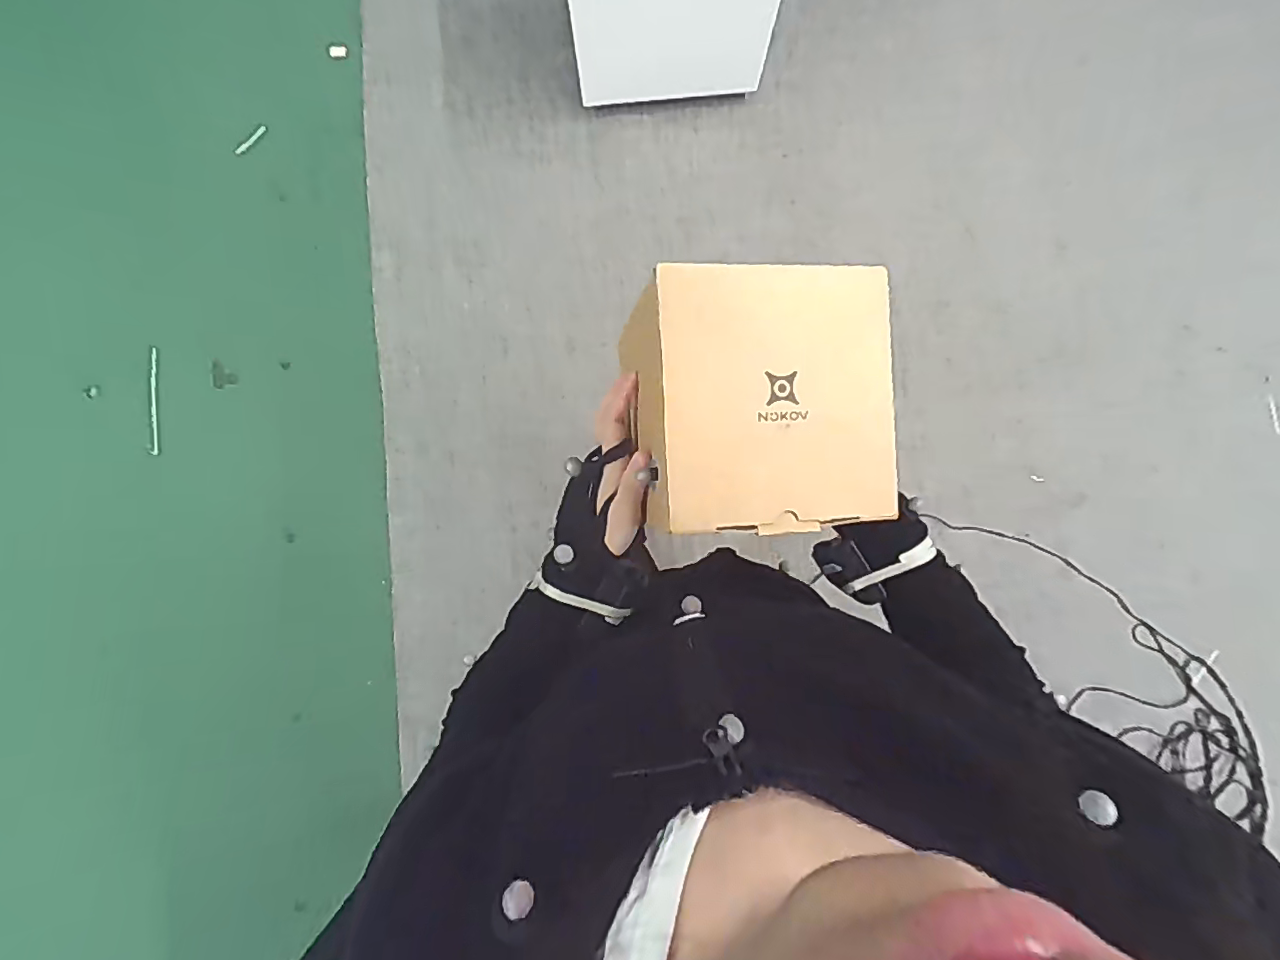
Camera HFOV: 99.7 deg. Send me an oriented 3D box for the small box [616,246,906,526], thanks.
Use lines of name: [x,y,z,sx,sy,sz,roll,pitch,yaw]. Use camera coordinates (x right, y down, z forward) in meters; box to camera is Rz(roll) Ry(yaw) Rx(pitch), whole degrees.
small box: [0.077,-0.060,0.423,0.168,0.176,0.179,-4,90,-10]
